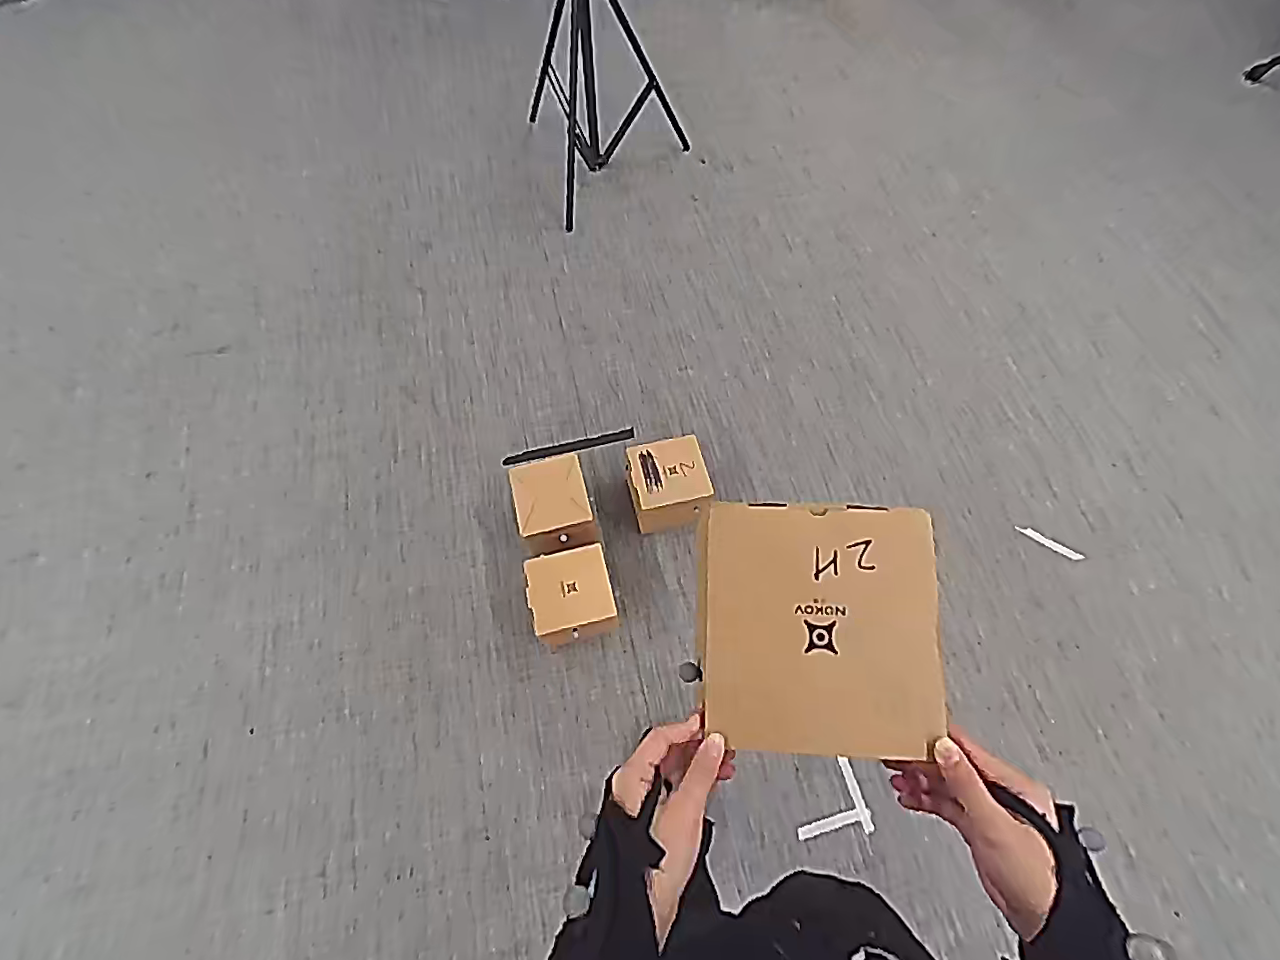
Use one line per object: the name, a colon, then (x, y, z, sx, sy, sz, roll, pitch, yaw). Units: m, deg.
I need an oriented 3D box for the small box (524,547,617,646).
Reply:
small box: (-0.152, 0.268, 1.226, 0.179, 0.176, 0.168, -13, 66, -6)

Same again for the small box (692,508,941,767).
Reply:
small box: (0.133, 0.126, 0.469, 0.168, 0.176, 0.179, 2, 77, 3)
